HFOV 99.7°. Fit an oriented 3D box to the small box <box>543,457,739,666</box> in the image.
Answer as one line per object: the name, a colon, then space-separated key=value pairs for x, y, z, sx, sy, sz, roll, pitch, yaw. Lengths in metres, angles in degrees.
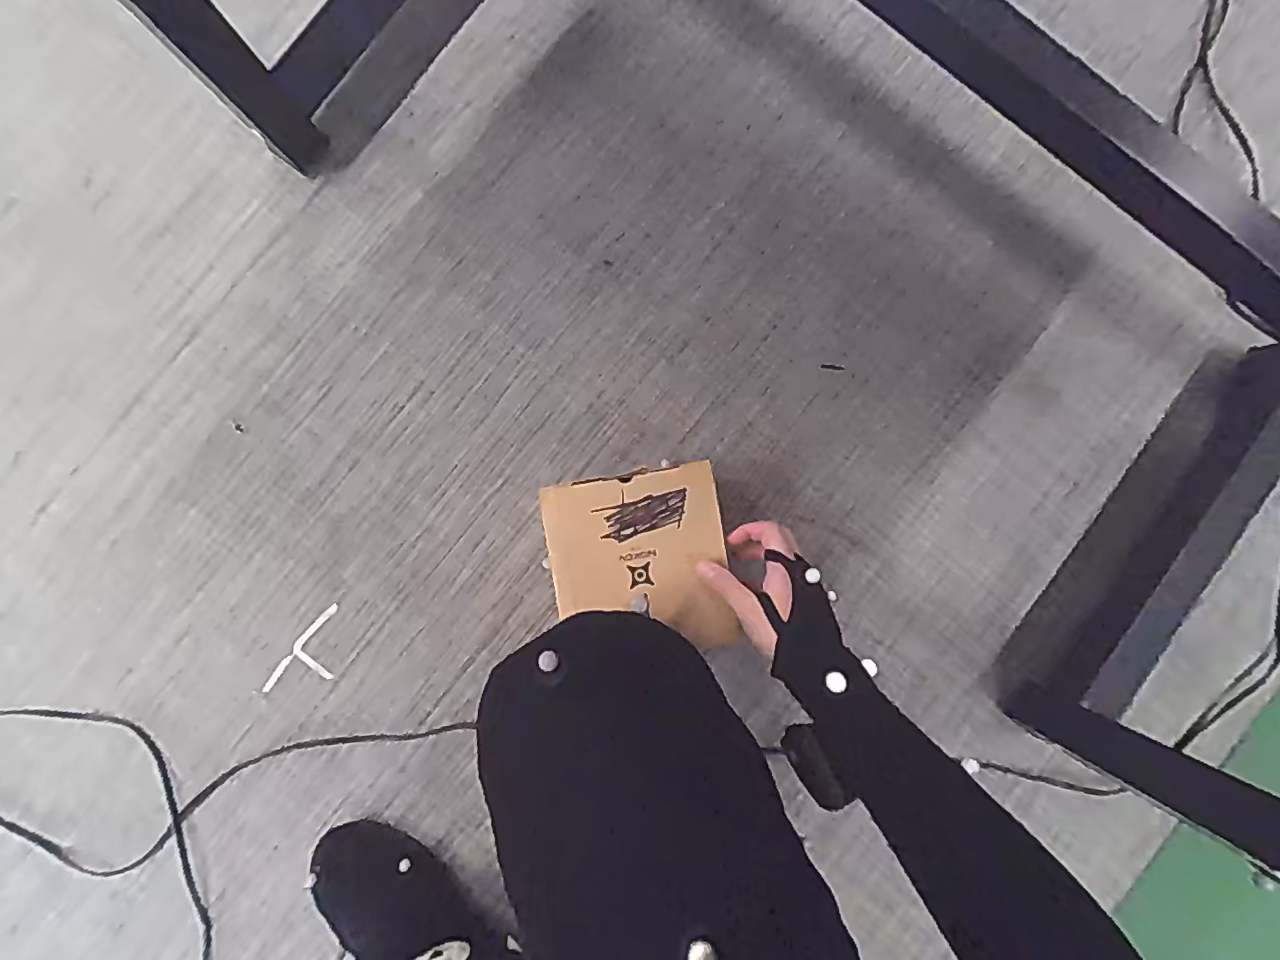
small box: x=-0.002 y=0.077 z=0.581 sx=0.168 sy=0.176 sz=0.179 roll=-9 pitch=90 yaw=-1
